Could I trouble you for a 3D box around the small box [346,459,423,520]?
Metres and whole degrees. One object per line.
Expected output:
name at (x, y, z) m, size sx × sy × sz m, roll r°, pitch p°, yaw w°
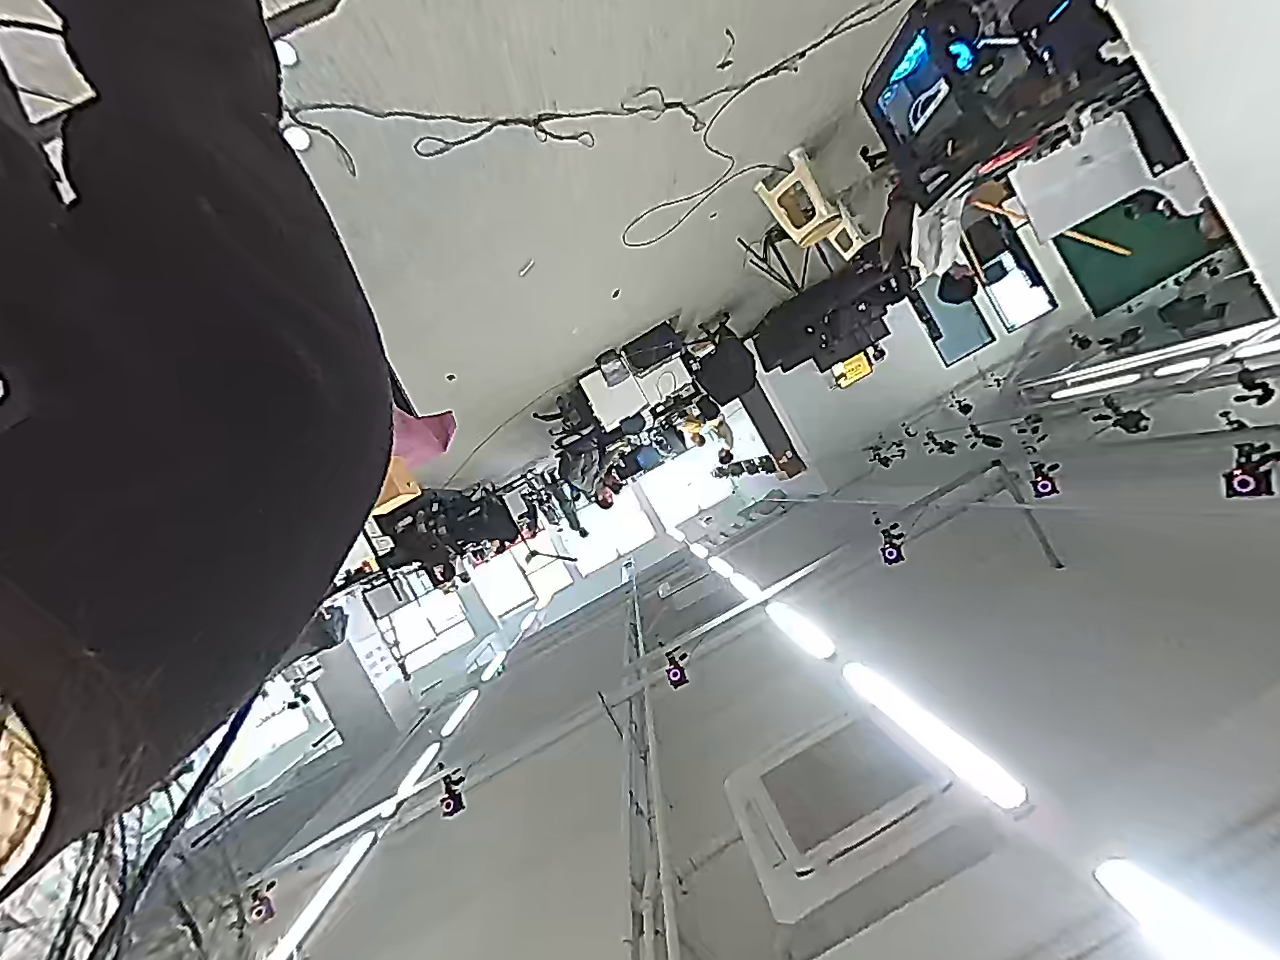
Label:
small box at (-0.956, 0.031, 2.019) m, size 0.168 × 0.176 × 0.179 m, roll -29°, pitch 180°, yaw 1°
